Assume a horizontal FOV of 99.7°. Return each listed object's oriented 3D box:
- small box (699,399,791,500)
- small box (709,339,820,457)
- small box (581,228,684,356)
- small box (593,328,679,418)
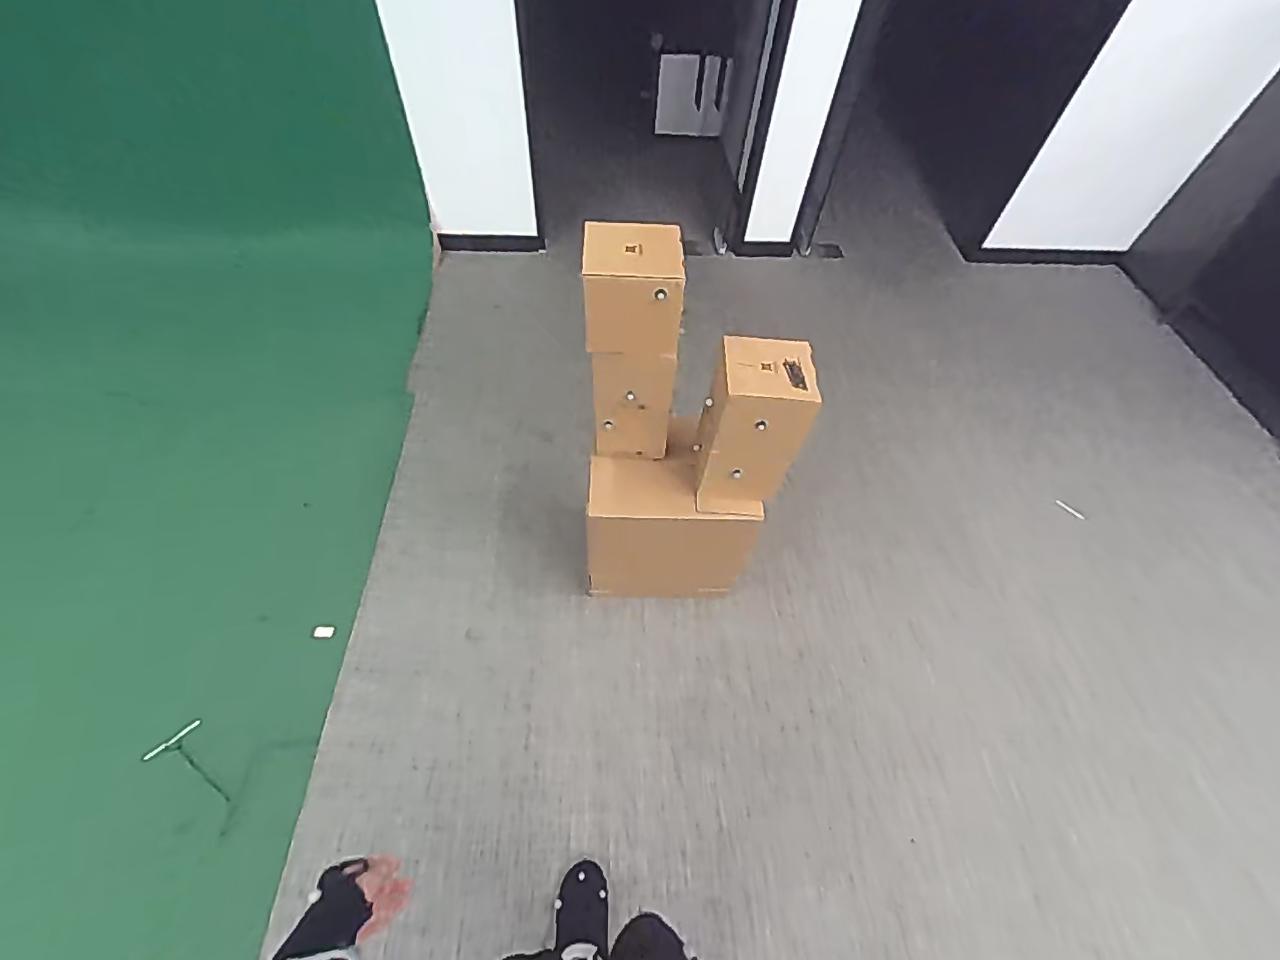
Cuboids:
[{"bbox_3d":[0.229,-0.066,1.228,0.179,0.176,0.168,3,56,-1],"label":"small box"},{"bbox_3d":[0.243,-0.161,1.096,0.179,0.176,0.168,4,55,-1],"label":"small box"},{"bbox_3d":[-0.015,-0.350,1.016,0.179,0.176,0.168,0,54,-3],"label":"small box"},{"bbox_3d":[-0.008,-0.258,1.151,0.168,0.176,0.179,5,55,1],"label":"small box"}]
